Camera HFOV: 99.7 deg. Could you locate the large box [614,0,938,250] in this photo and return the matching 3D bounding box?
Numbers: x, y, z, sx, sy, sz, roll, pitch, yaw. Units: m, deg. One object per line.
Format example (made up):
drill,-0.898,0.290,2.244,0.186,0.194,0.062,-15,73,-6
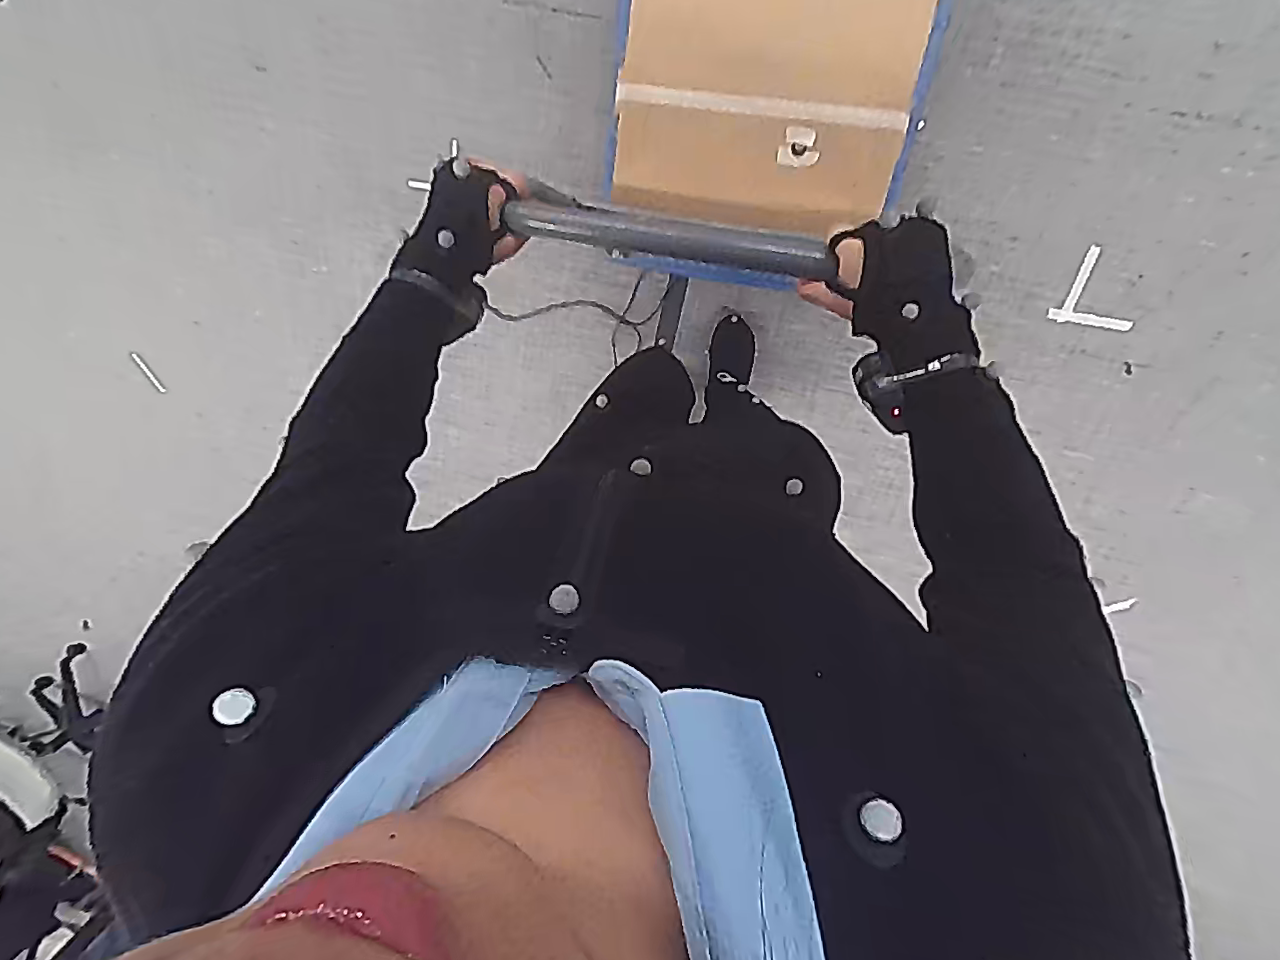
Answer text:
large box,0.194,-0.579,0.903,0.408,0.320,0.320,11,113,6
